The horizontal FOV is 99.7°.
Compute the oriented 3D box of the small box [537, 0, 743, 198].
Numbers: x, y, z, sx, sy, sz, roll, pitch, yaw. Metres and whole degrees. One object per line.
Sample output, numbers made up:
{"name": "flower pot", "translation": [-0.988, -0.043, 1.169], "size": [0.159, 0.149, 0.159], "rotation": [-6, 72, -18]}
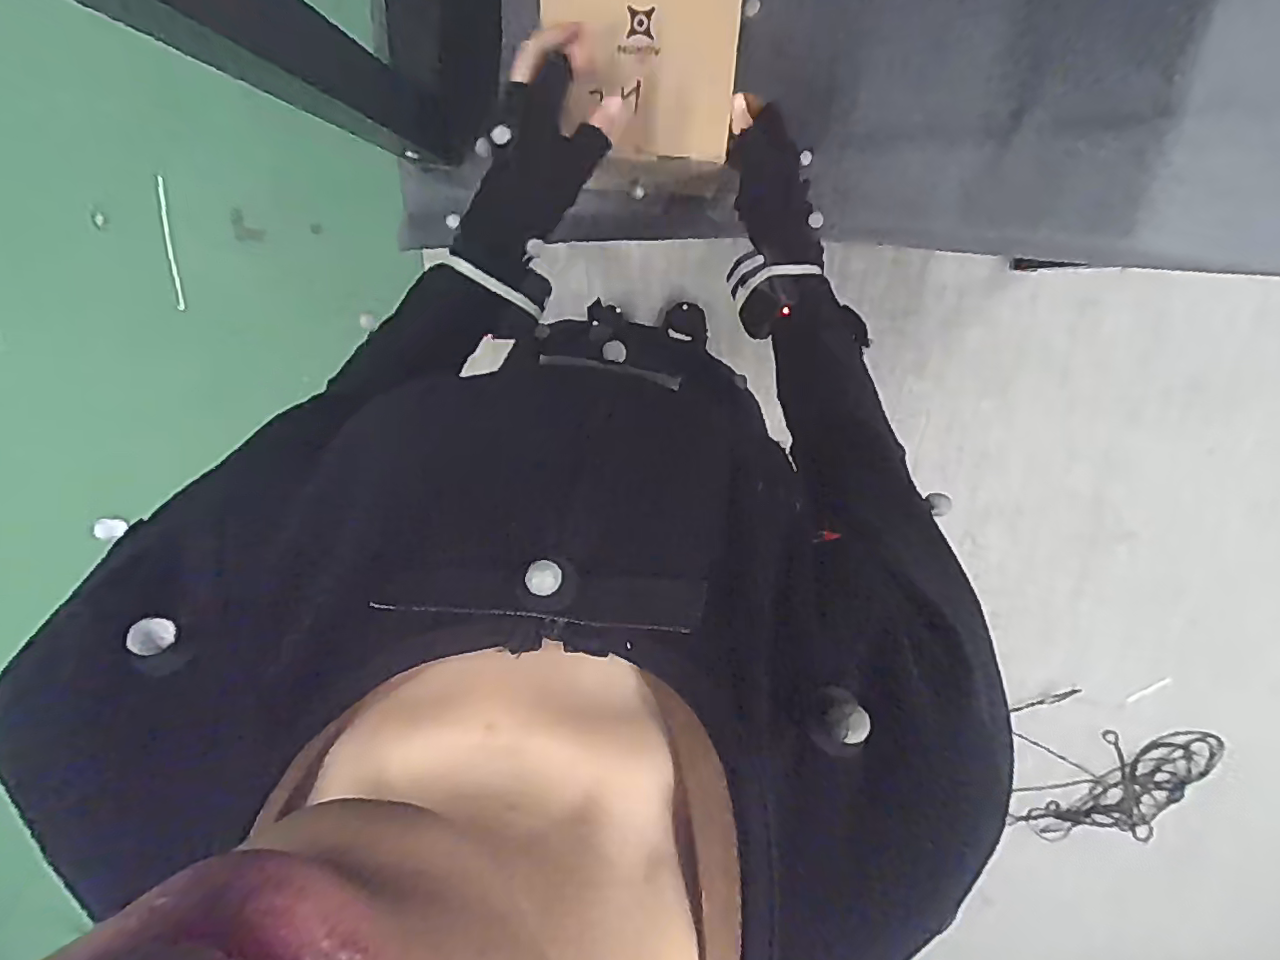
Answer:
{"name": "small box", "translation": [0.002, -0.389, 0.518], "size": [0.168, 0.176, 0.179], "rotation": [5, 108, 2]}

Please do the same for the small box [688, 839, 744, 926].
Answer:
{"name": "small box", "translation": [0.260, 1.405, 1.892], "size": [0.168, 0.176, 0.179], "rotation": [6, 109, 1]}
